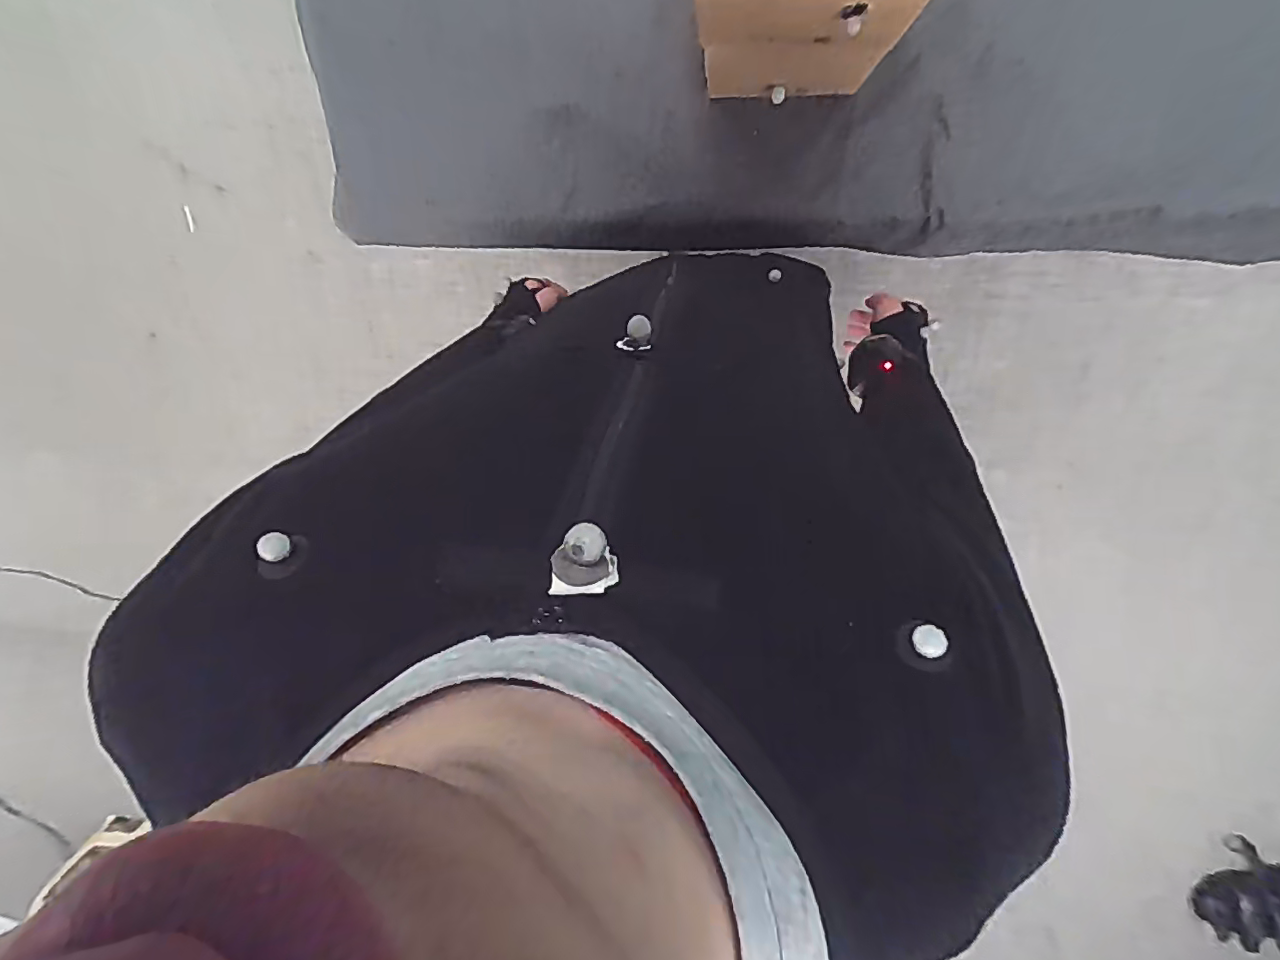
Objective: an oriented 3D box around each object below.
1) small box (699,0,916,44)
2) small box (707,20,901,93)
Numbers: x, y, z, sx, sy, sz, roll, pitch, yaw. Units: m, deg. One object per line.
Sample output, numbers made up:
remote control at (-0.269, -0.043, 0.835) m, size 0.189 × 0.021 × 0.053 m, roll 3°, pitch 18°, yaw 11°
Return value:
small box at (0.127, -0.424, 0.361) m, size 0.168 × 0.176 × 0.179 m, roll 7°, pitch 113°, yaw 6°
small box at (0.153, -0.489, 0.506) m, size 0.168 × 0.176 × 0.179 m, roll 5°, pitch 114°, yaw 8°
